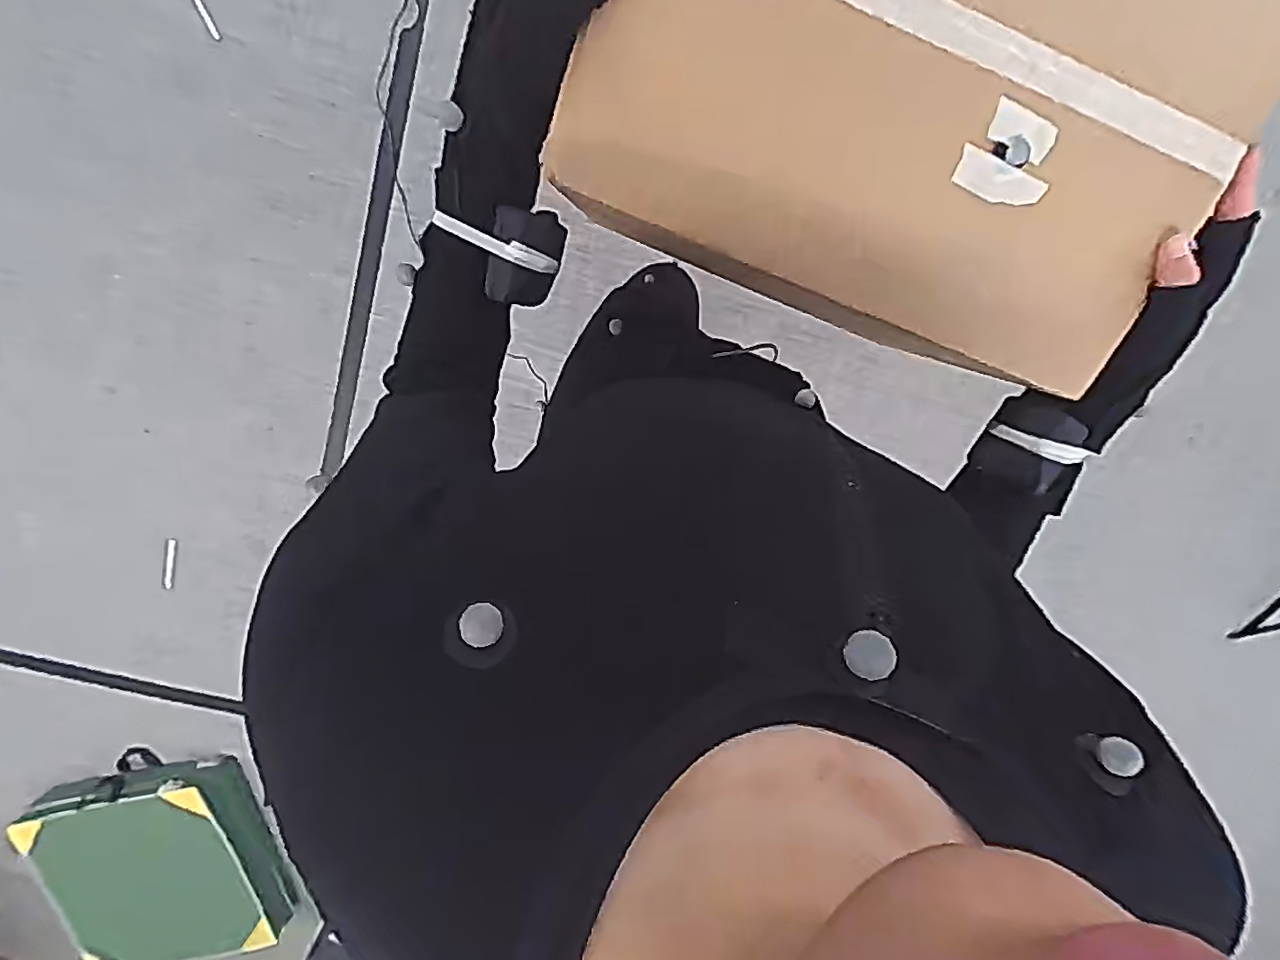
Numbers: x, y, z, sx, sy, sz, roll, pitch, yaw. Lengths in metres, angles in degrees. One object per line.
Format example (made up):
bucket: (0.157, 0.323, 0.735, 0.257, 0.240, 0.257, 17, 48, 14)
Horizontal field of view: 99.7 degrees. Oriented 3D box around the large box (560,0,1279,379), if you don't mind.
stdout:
large box: (0.181, -0.323, 0.465, 0.408, 0.320, 0.320, 20, 111, -8)
